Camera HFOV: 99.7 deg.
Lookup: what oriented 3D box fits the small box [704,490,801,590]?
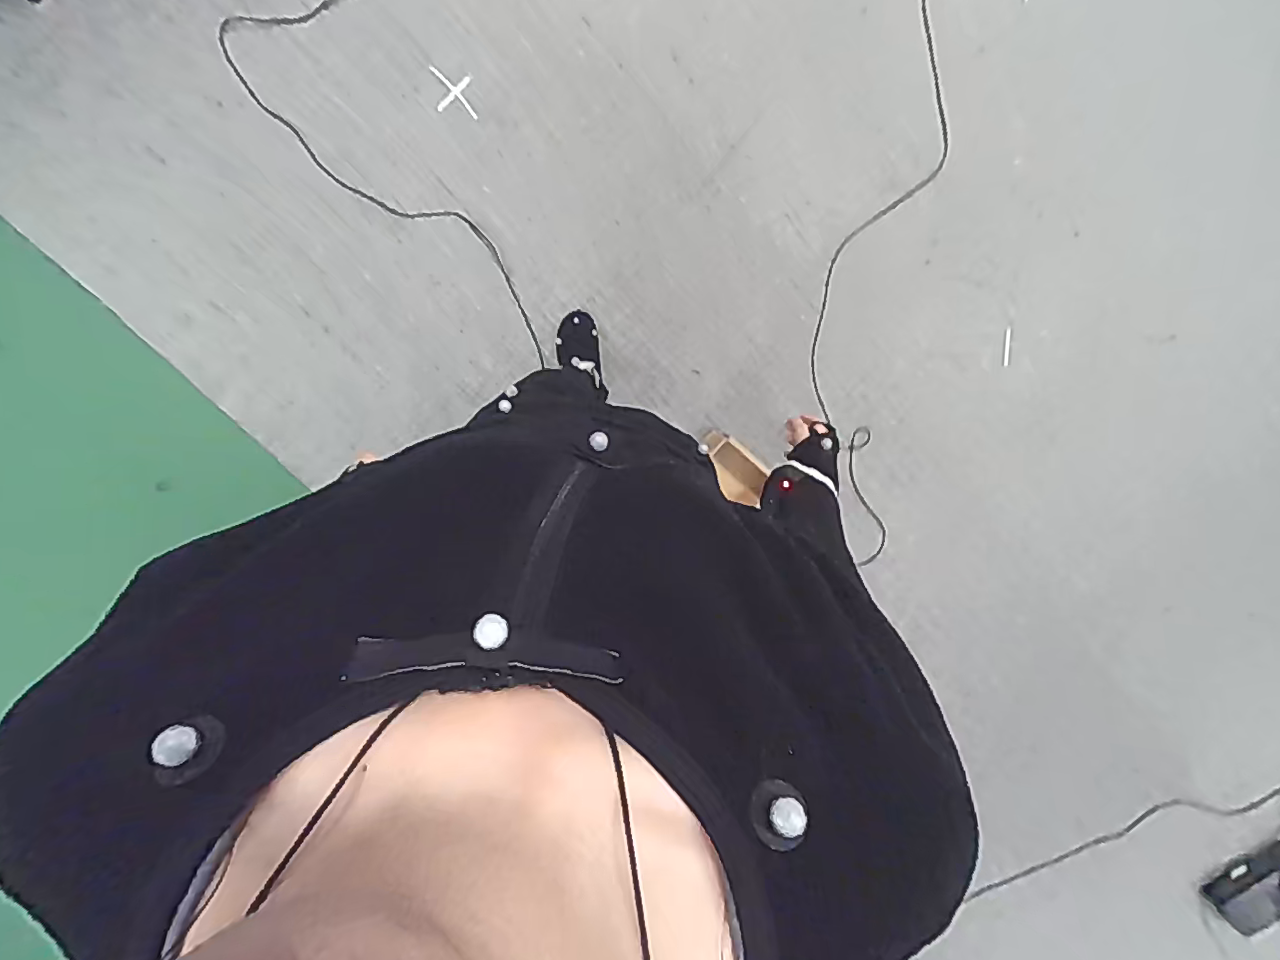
[{"bbox_3d":[0.287,0.150,1.430,0.168,0.176,0.179,41,99,-9],"label":"small box"}]
